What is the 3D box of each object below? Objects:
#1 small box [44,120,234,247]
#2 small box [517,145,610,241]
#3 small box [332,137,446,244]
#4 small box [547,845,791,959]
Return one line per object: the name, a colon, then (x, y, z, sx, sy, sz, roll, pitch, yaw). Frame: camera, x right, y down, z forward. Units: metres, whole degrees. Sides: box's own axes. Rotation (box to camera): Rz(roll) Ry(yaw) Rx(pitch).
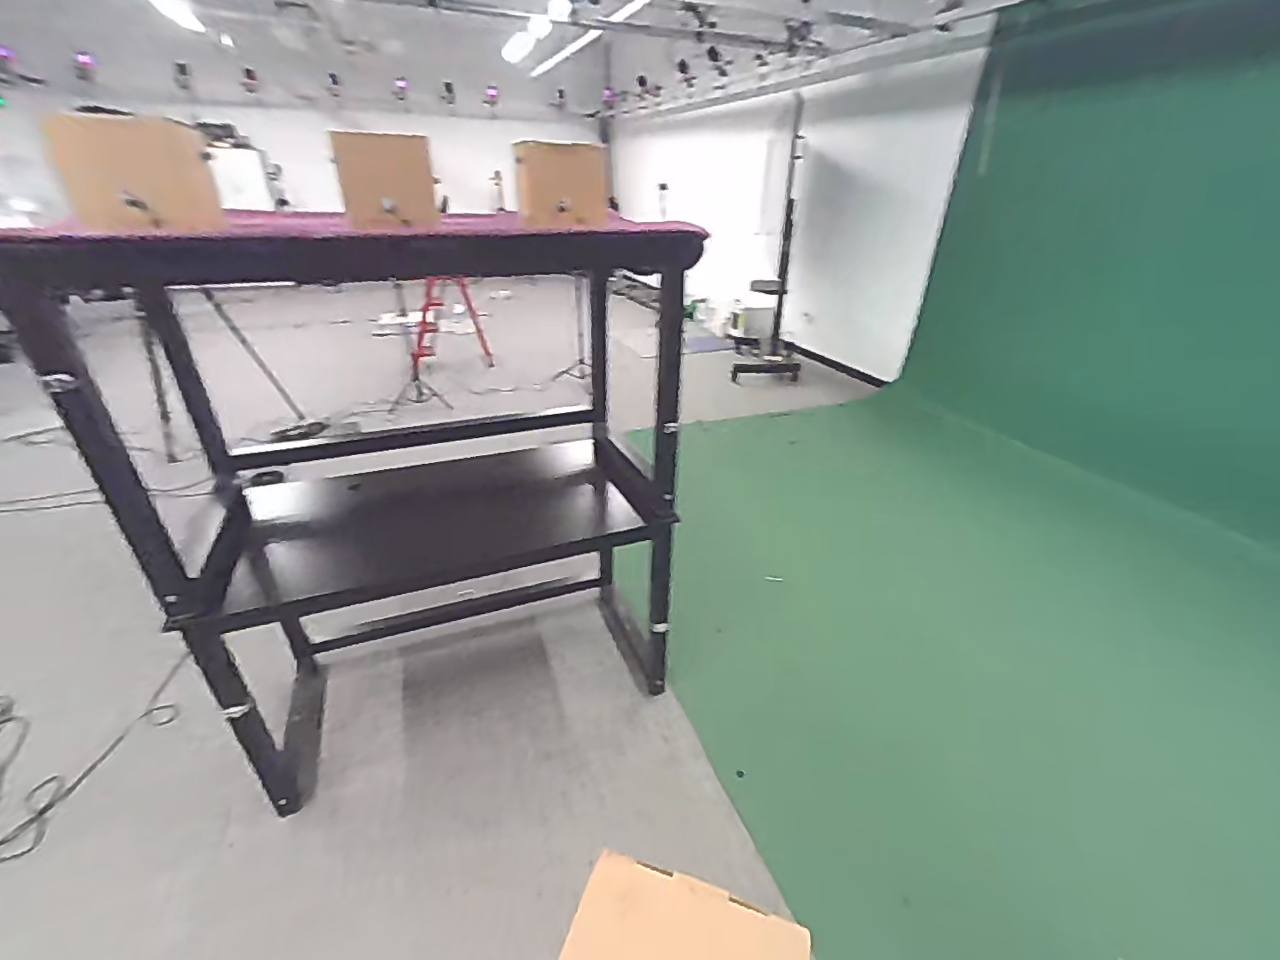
small box: (-0.819, -0.491, 0.911, 0.168, 0.176, 0.179, -10, 30, -20)
small box: (-0.168, -0.620, 1.168, 0.168, 0.176, 0.179, -10, 32, -18)
small box: (-0.480, -0.560, 1.051, 0.168, 0.176, 0.179, -10, 32, -19)
small box: (0.006, 0.426, 0.397, 0.168, 0.176, 0.179, 11, 33, 16)
